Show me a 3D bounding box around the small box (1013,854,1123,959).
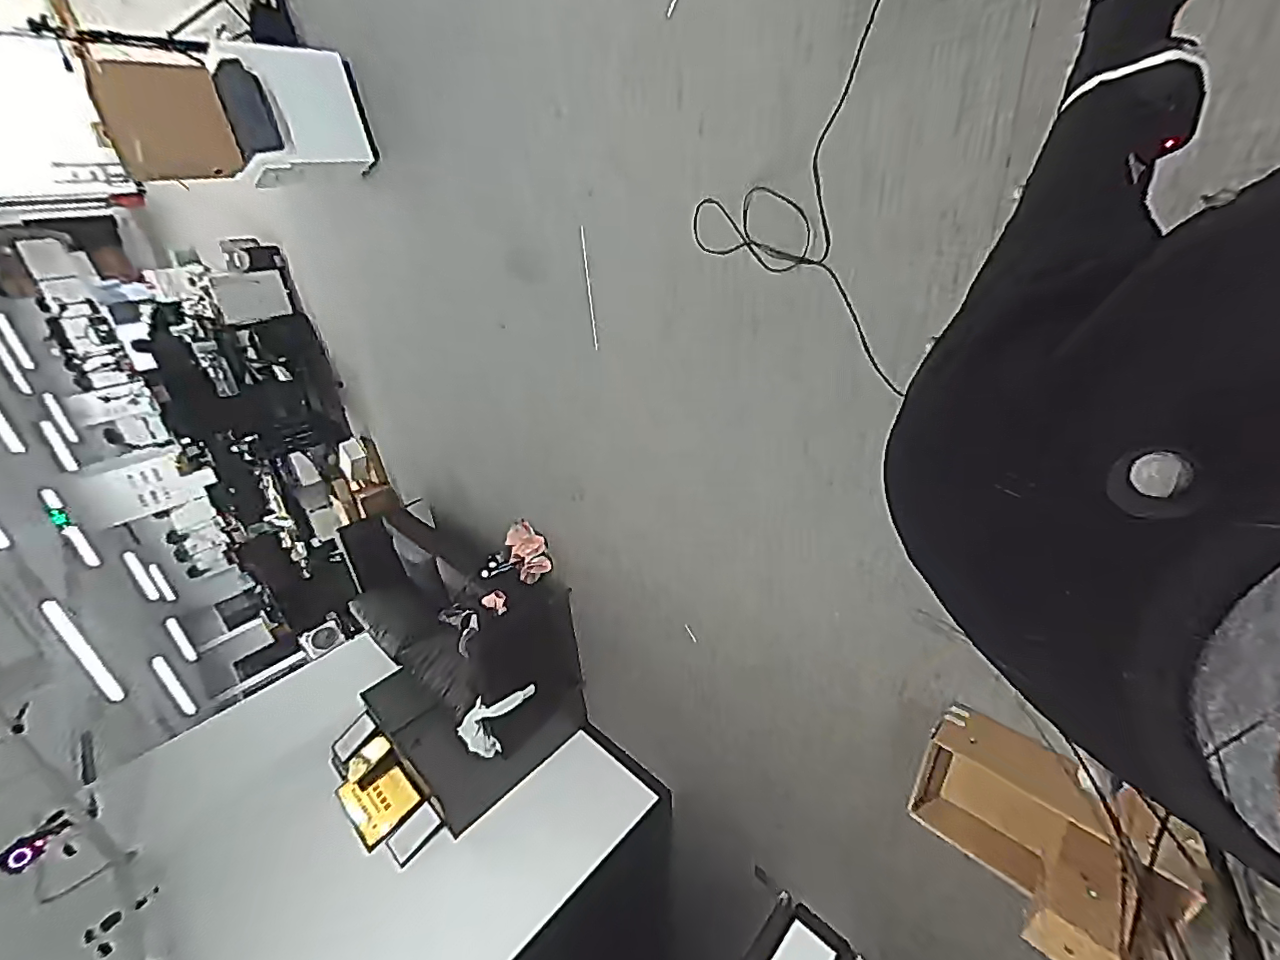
[{"bbox_3d":[1.100,1.123,1.388,0.168,0.176,0.179,25,128,37],"label":"small box"}]
